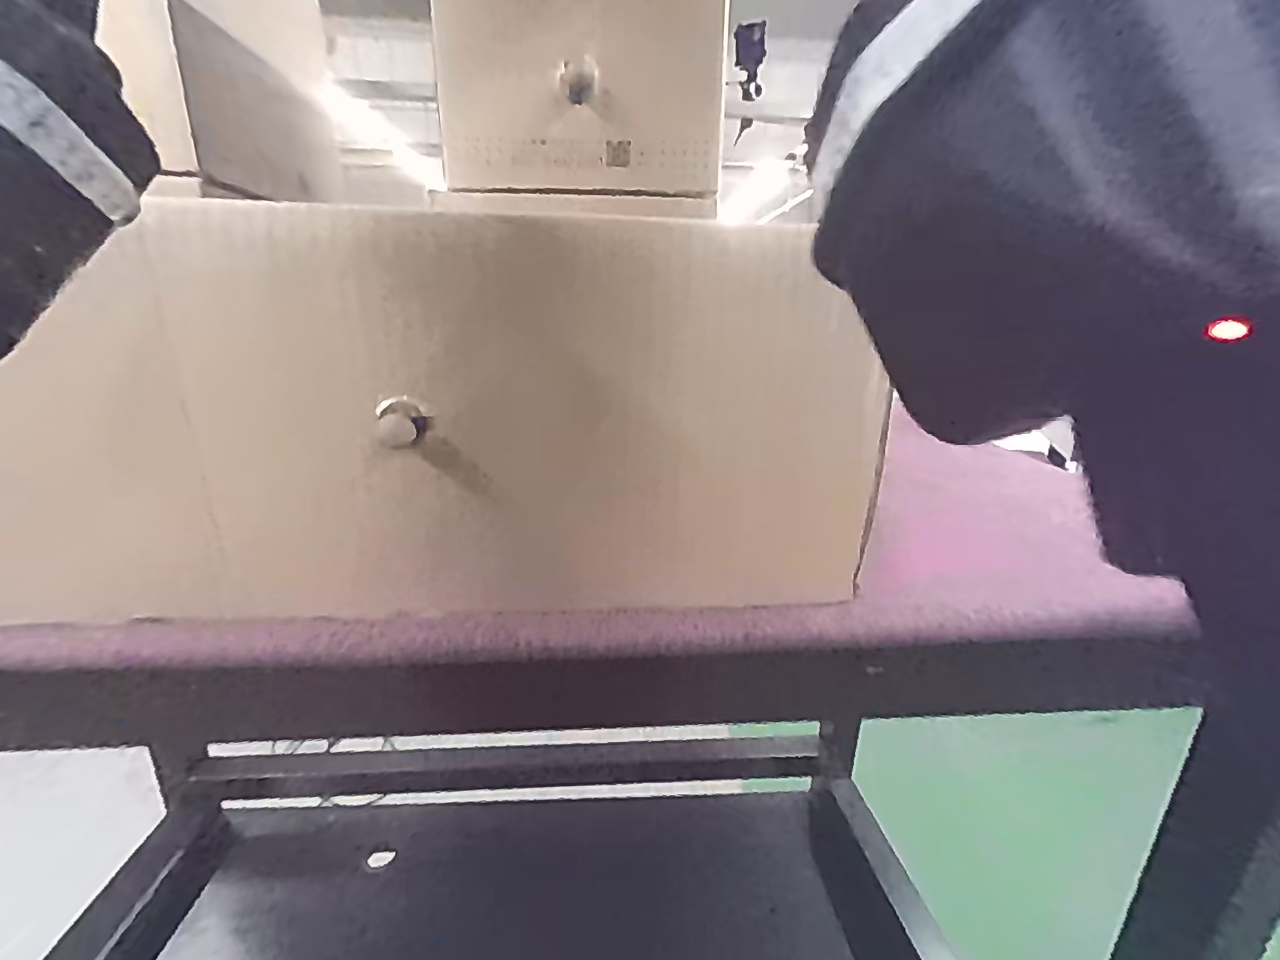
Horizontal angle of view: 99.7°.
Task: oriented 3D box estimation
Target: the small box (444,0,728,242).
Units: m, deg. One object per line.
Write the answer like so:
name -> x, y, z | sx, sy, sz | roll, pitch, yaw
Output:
small box -> -0.034, -0.270, 0.386 | 0.168, 0.176, 0.179 | 0, 16, -1
